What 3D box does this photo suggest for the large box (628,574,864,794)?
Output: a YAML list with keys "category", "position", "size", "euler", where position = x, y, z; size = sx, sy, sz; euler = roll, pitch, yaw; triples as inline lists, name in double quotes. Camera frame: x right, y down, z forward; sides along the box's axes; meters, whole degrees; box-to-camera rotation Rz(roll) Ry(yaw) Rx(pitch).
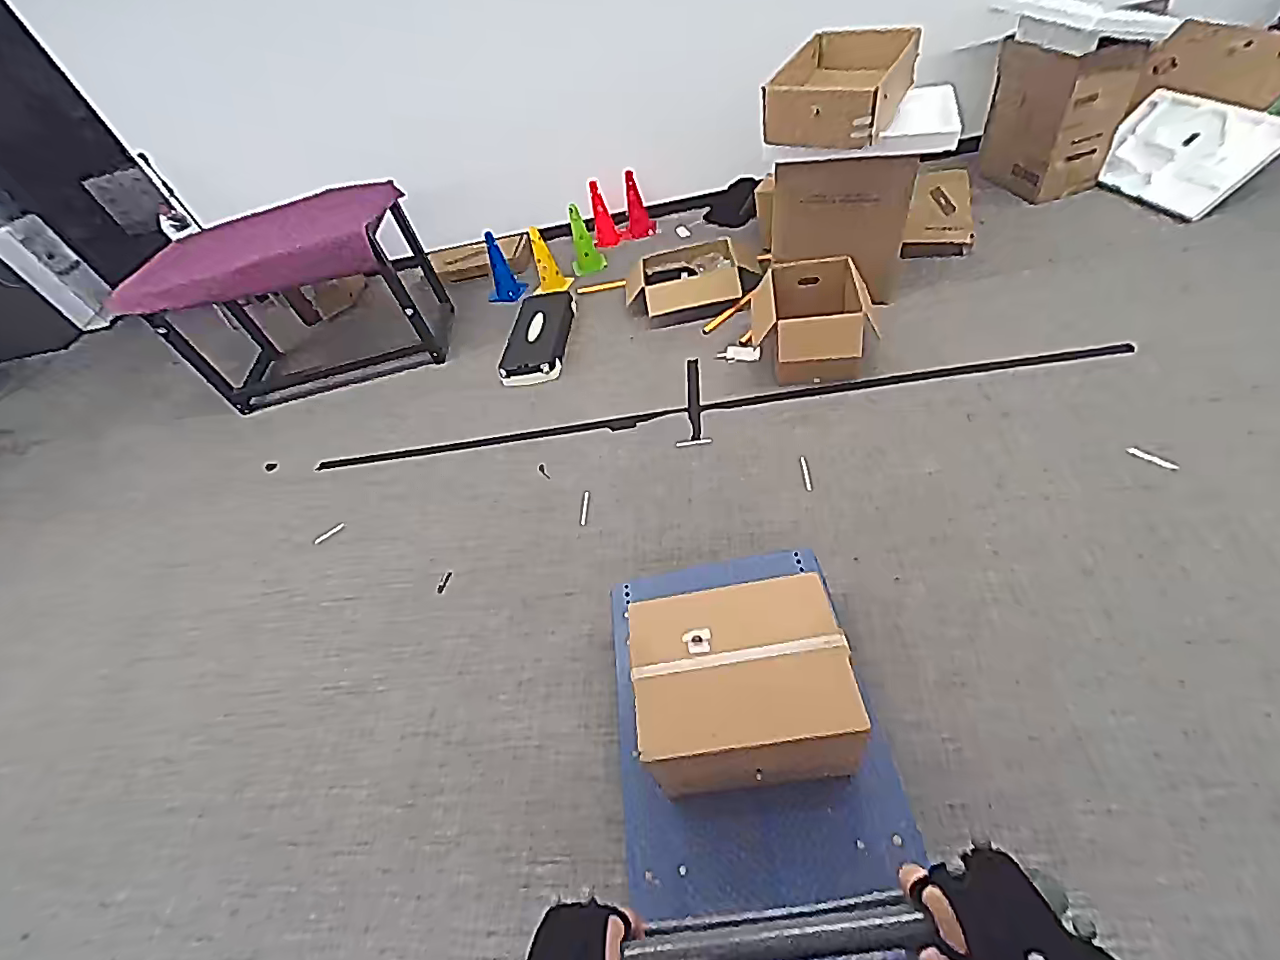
- category: "large box"
  position: [0.214, 0.445, 1.155]
  size: [0.408, 0.320, 0.320]
  euler: [-12, 47, 6]
